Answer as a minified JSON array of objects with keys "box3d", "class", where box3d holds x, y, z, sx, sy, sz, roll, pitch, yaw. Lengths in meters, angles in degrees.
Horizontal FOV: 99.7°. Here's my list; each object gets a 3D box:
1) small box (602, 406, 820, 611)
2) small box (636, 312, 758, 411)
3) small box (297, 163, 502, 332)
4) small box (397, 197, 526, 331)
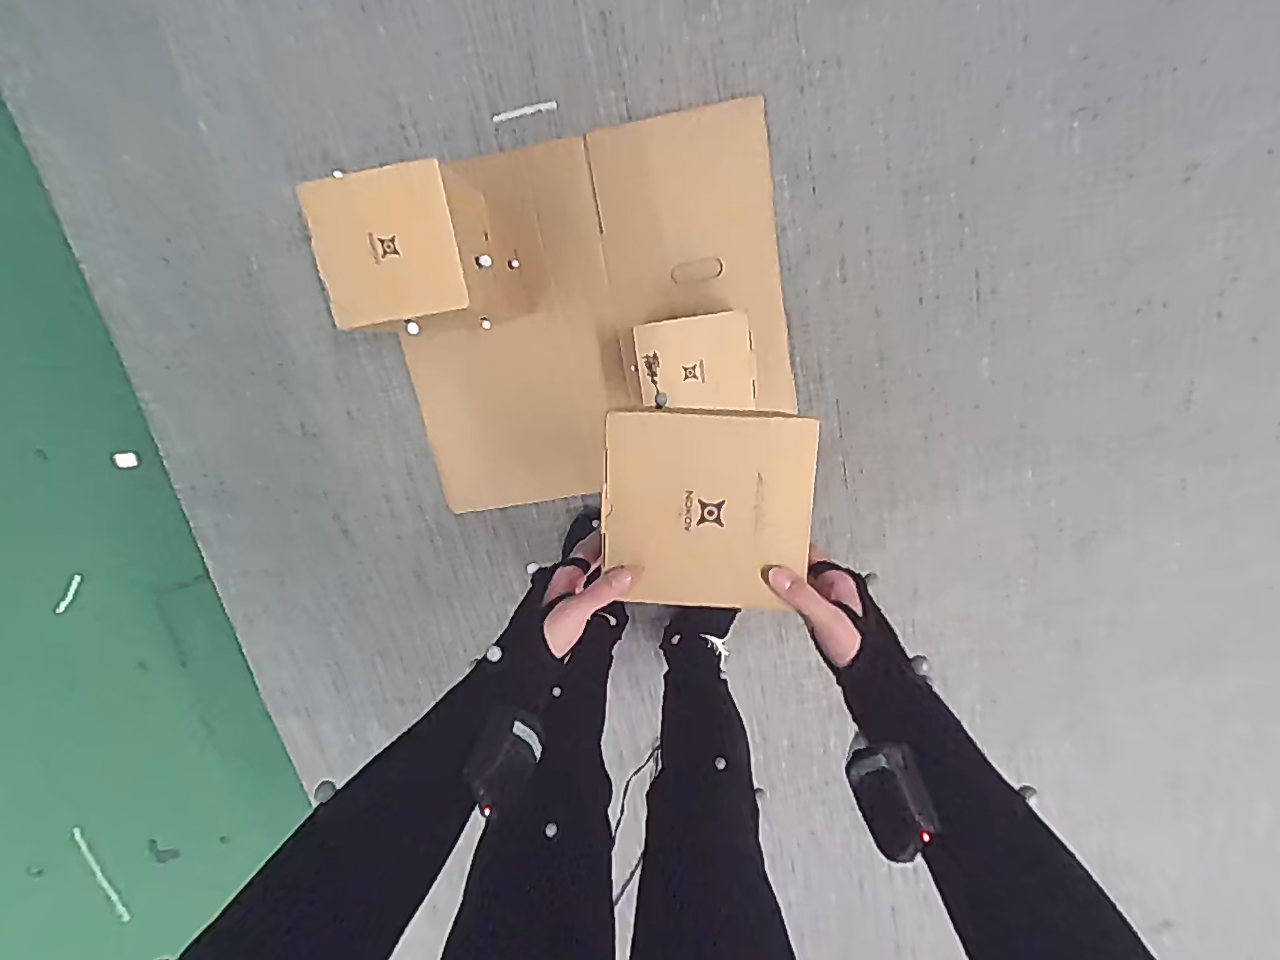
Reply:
[{"box3d":[0.062,0.014,0.532,0.179,0.176,0.168,3,100,3],"class":"small box"},{"box3d":[0.091,-0.184,0.895,0.179,0.176,0.168,-6,105,5],"class":"small box"},{"box3d":[-0.295,-0.294,0.713,0.179,0.176,0.168,-8,106,6],"class":"small box"},{"box3d":[-0.293,-0.337,0.869,0.179,0.176,0.168,-8,105,5],"class":"small box"}]
